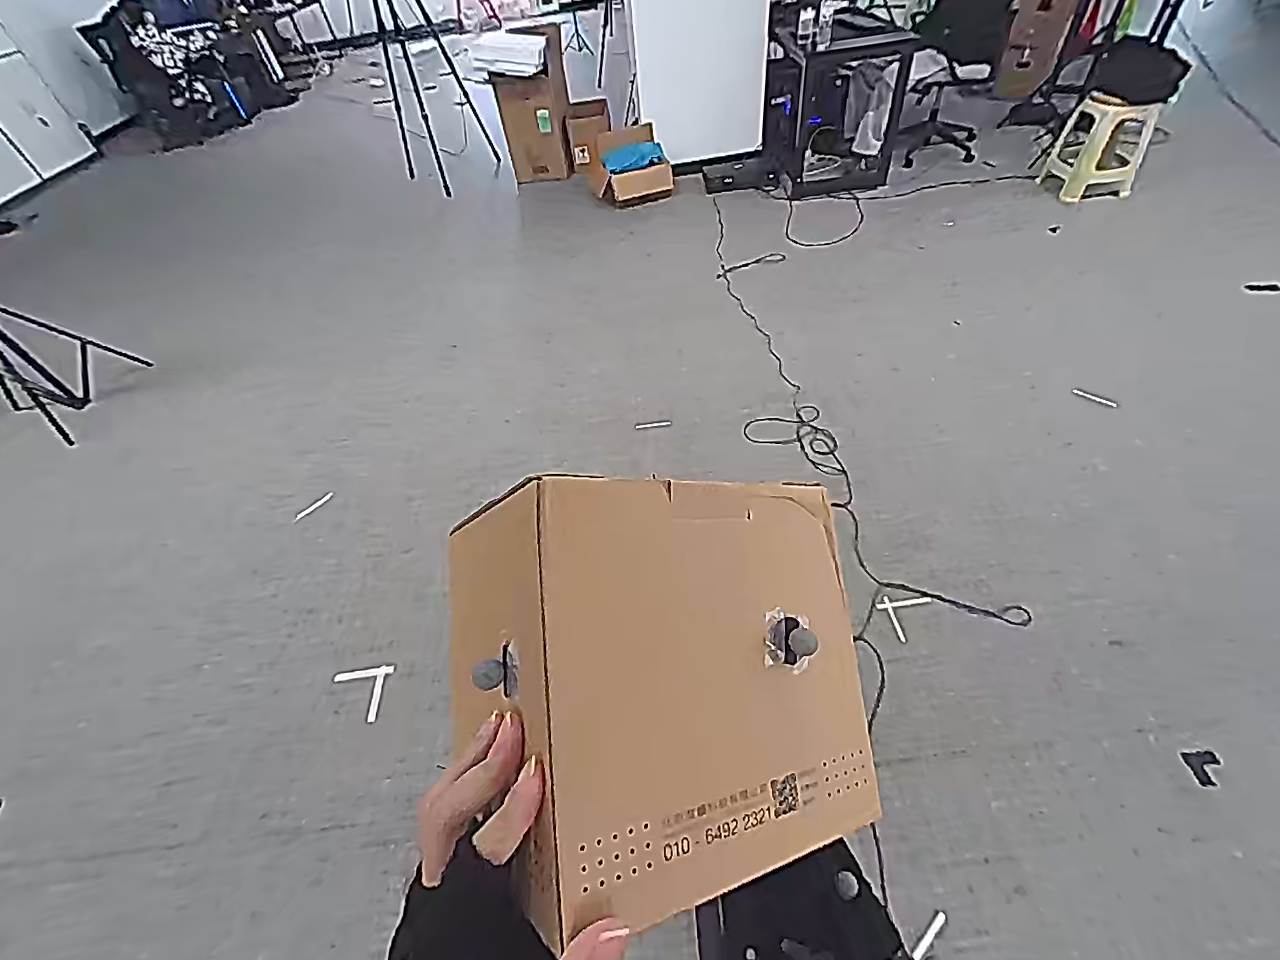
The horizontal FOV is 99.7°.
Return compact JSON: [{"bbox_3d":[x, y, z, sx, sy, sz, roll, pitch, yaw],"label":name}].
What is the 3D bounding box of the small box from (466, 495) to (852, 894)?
[{"bbox_3d":[-0.001,0.107,0.325,0.168,0.179,0.176,2,76,-30],"label":"small box"}]
